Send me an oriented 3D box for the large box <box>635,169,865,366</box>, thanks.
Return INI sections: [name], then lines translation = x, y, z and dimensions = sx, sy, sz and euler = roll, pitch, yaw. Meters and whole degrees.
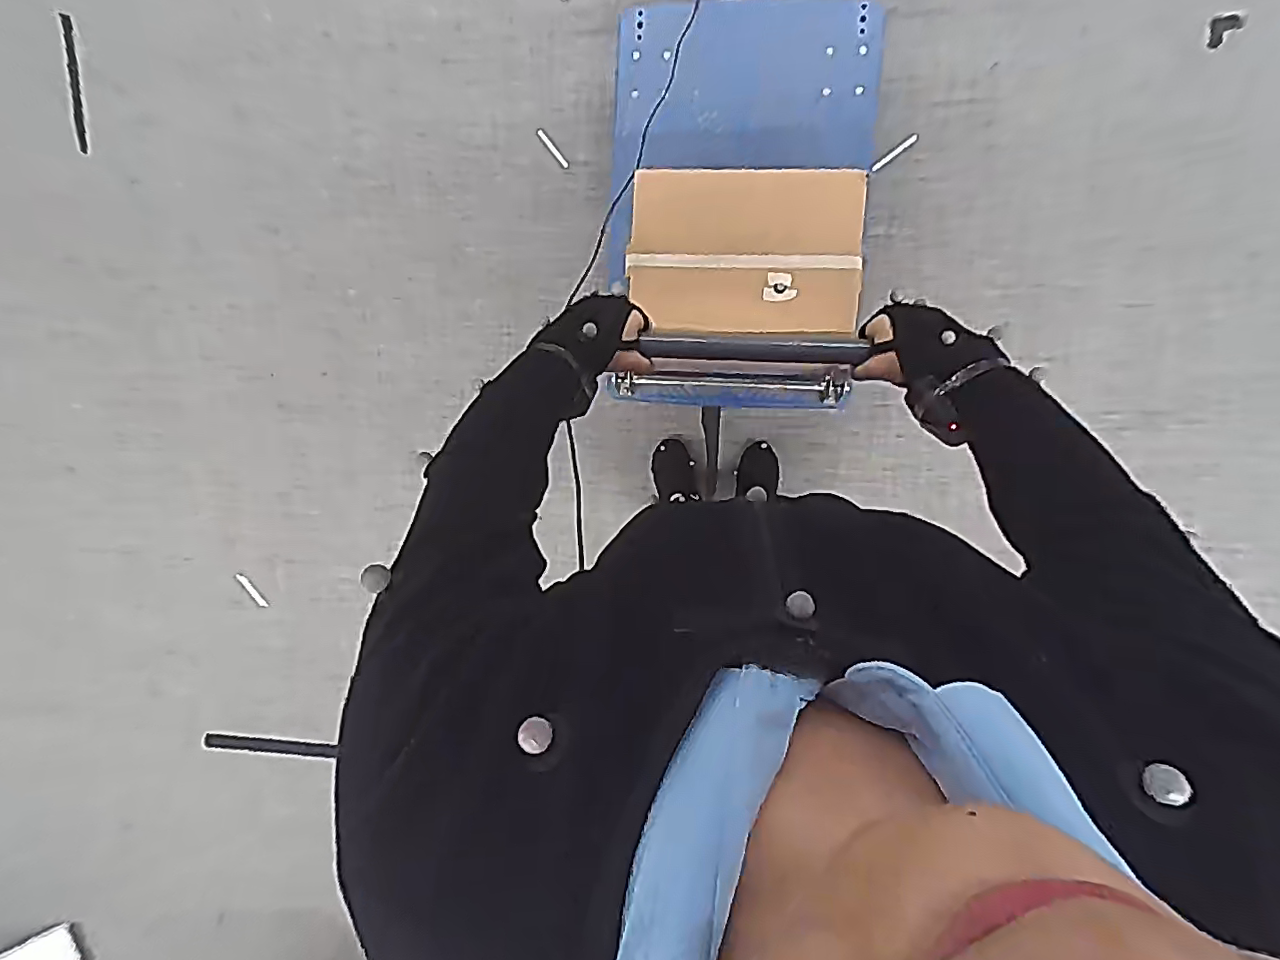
[large box]
translation = 0.203, -0.412, 1.122
dimensions = 0.408, 0.320, 0.320
euler = 3, 97, 5
